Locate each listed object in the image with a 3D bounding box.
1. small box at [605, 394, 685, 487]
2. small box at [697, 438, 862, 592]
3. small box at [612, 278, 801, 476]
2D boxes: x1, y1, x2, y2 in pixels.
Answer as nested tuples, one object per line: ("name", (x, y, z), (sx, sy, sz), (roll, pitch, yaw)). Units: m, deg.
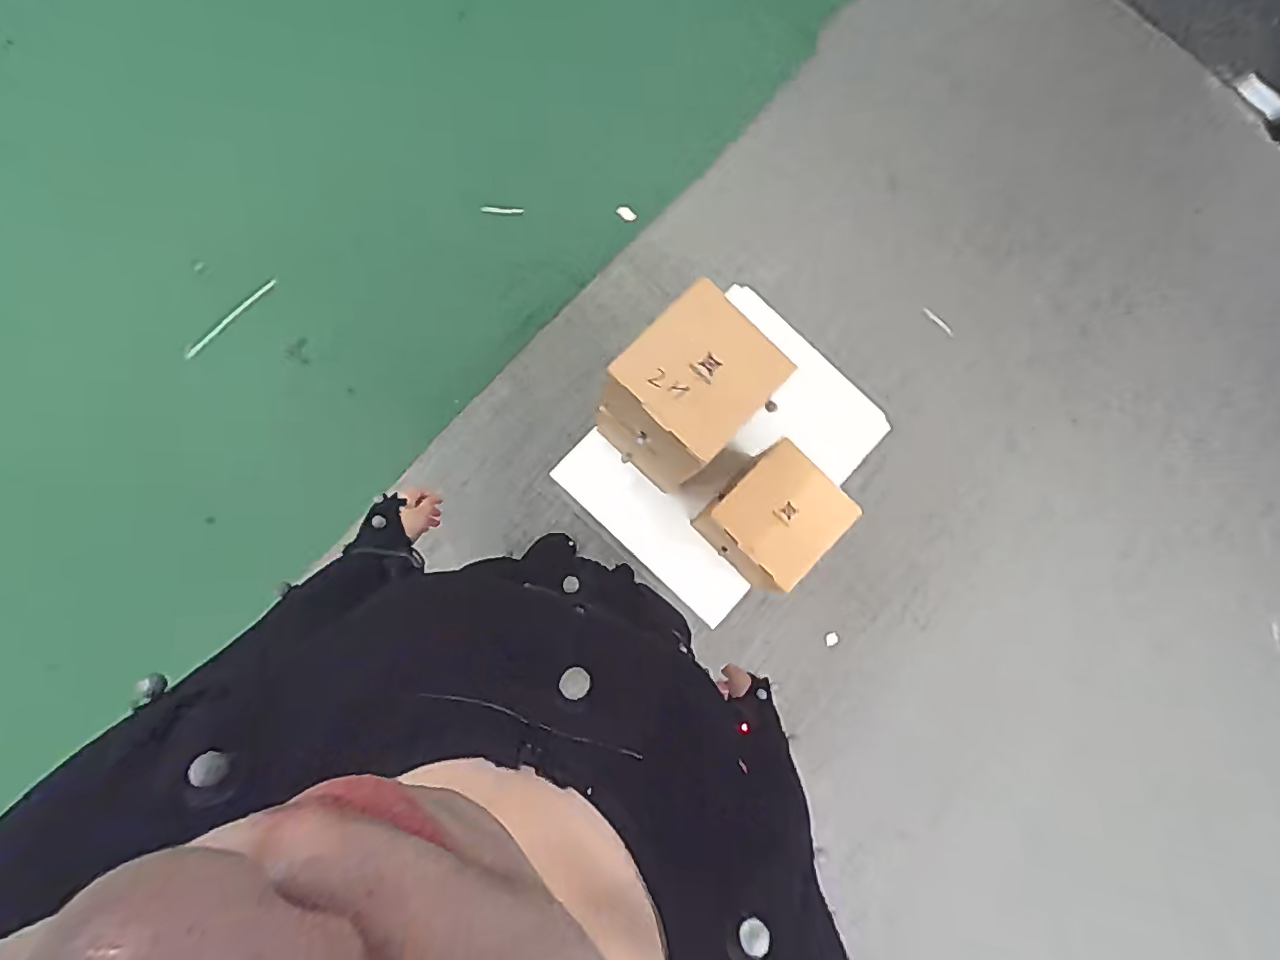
("small box", (0.053, -0.107, 0.892), (0.168, 0.176, 0.179), (44, 82, 1))
("small box", (0.215, 0.060, 0.887), (0.179, 0.176, 0.168), (-44, 87, -8))
("small box", (0.075, -0.126, 0.730), (0.179, 0.176, 0.168), (-44, 89, -9))
